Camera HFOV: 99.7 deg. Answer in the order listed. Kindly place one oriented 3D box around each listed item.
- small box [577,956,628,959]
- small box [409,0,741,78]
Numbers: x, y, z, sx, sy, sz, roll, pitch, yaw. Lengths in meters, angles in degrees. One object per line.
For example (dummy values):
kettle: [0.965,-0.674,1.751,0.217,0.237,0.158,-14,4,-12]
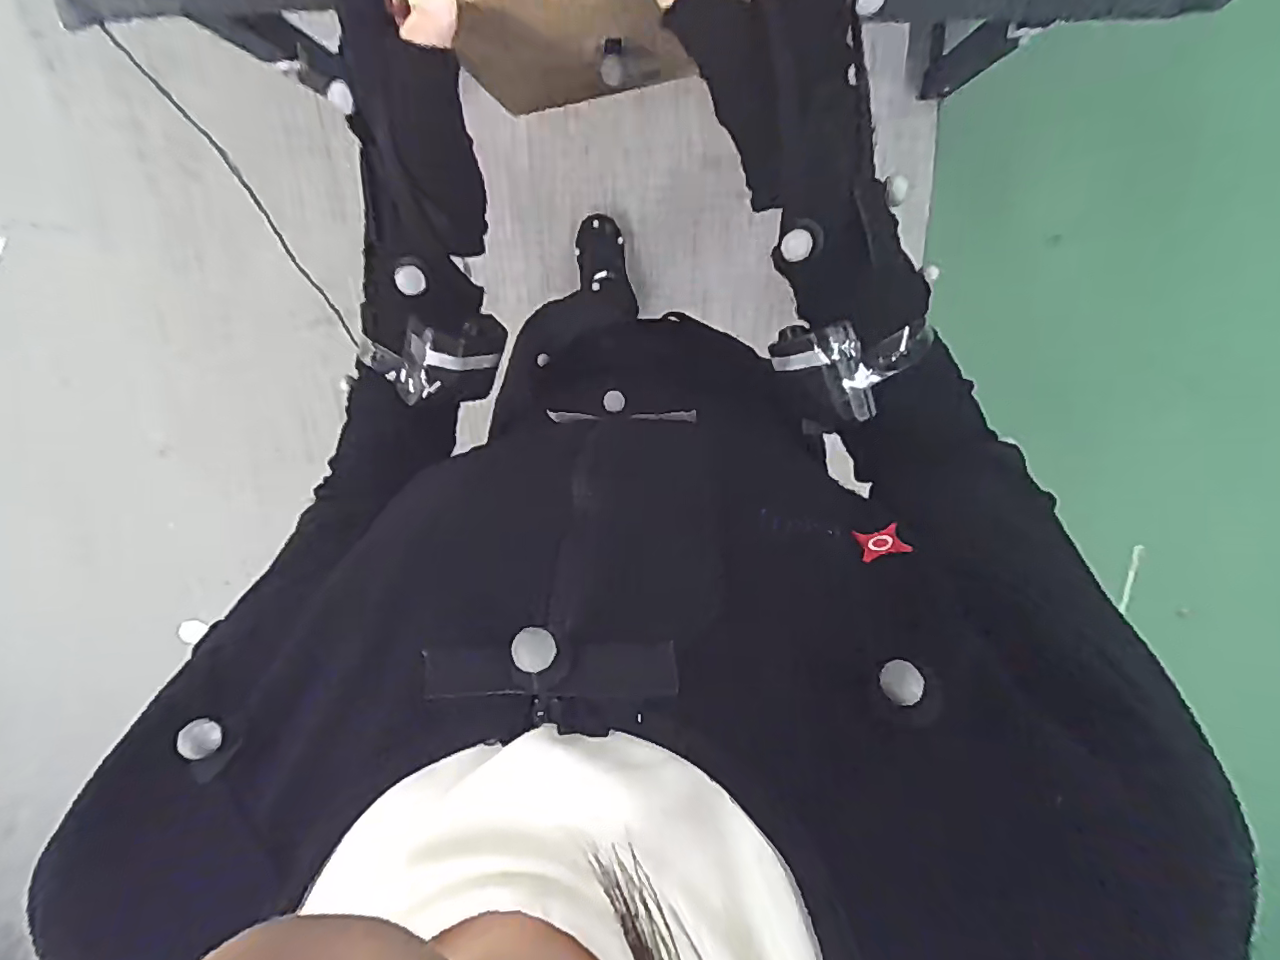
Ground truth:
small box: [-0.116,1.573,1.620,0.179,0.176,0.168,-6,108,6]
small box: [-0.033,-0.330,0.266,0.168,0.176,0.179,-8,111,7]
